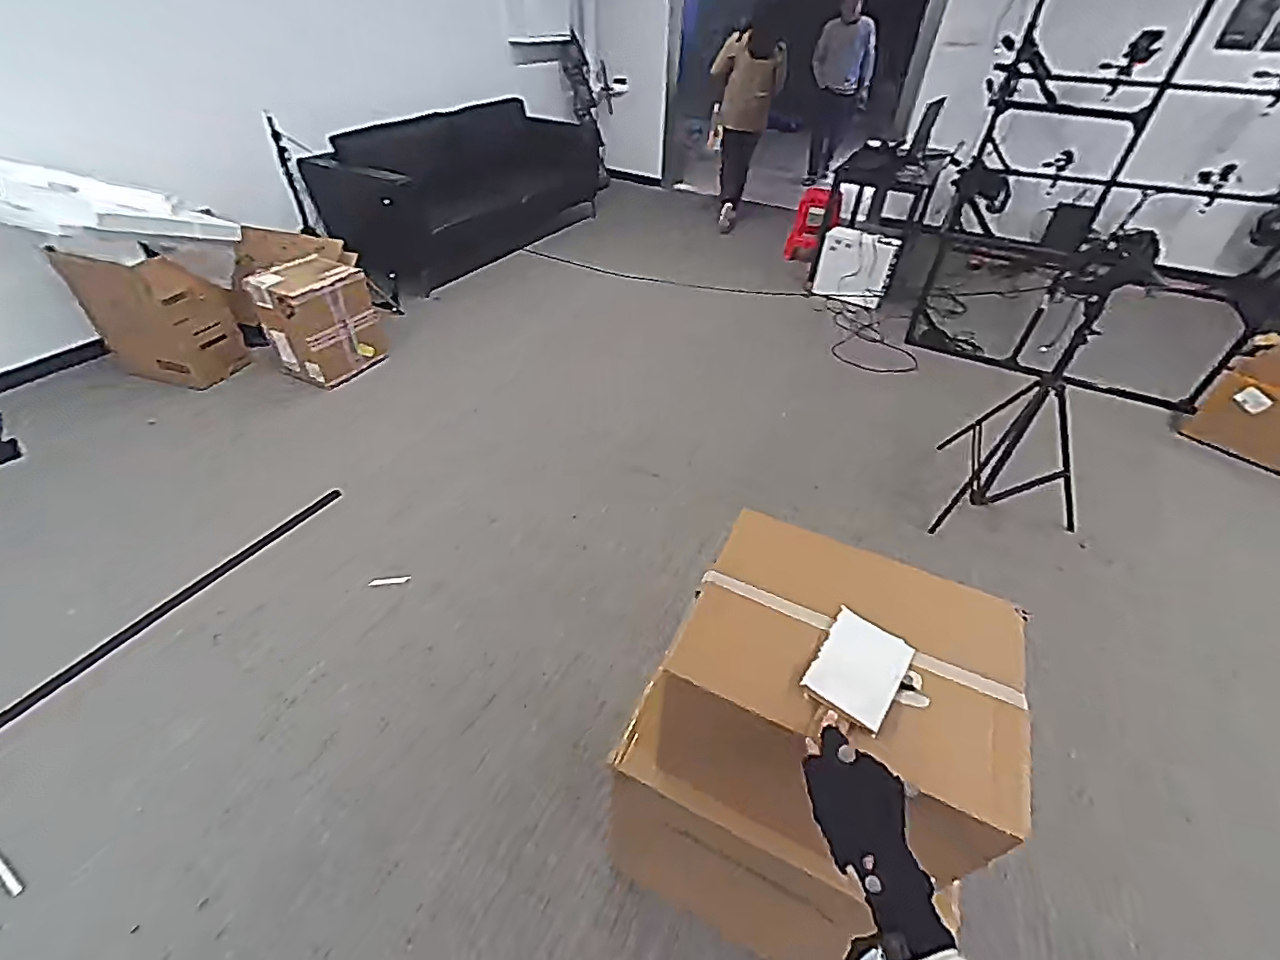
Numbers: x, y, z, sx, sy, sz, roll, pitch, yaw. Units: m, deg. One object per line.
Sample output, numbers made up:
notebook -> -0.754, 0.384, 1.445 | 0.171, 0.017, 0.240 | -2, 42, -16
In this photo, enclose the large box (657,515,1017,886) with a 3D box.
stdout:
large box -> 0.273, 0.316, 0.822 | 0.408, 0.320, 0.320 | 20, 46, 18
